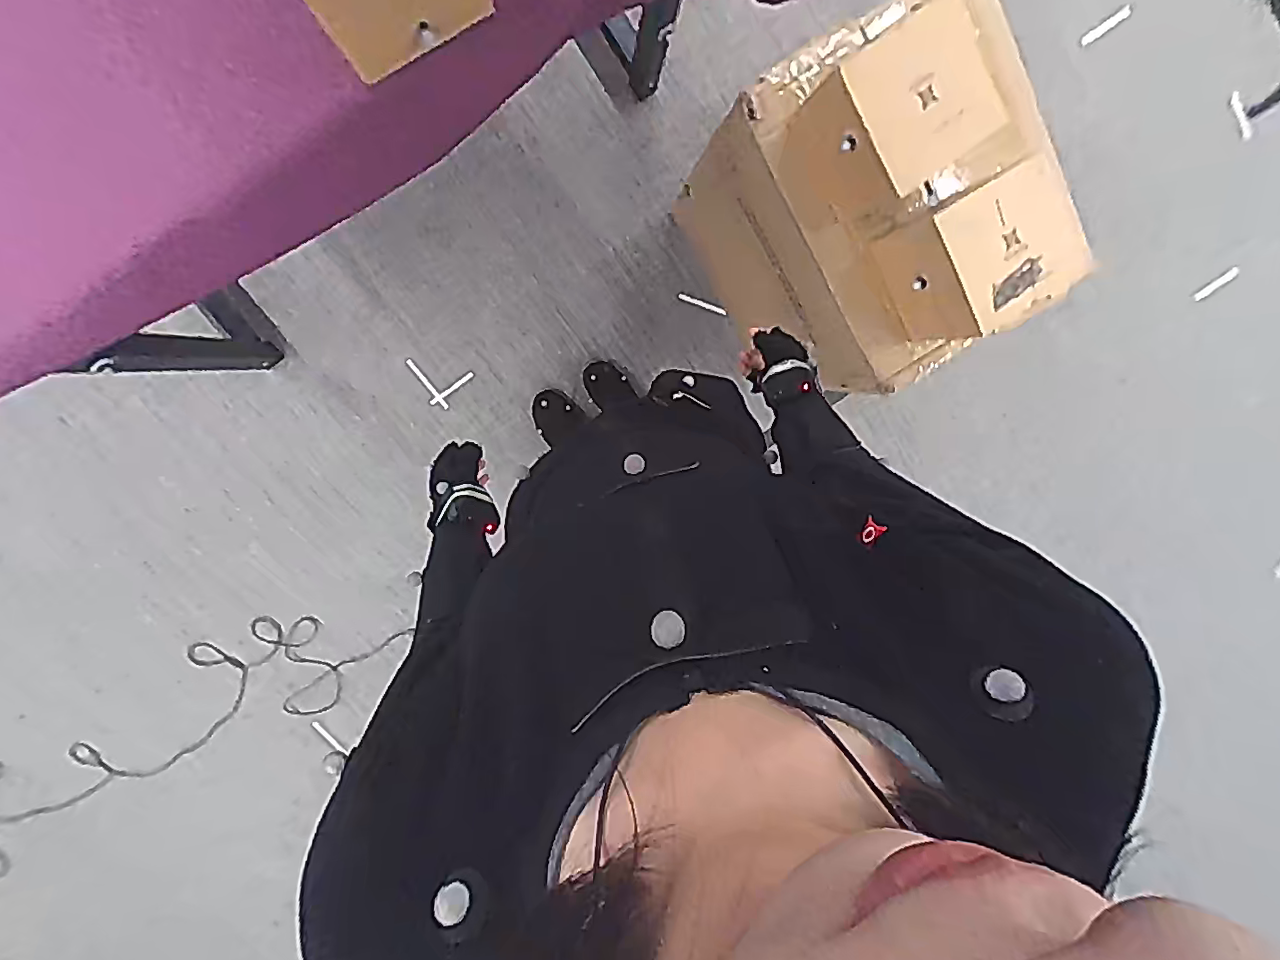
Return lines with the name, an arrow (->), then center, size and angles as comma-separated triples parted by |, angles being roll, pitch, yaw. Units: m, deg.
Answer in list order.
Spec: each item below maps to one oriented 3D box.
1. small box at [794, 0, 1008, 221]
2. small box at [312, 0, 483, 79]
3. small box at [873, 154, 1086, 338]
small box -> 0.339, -0.488, 0.736 | 0.168, 0.176, 0.179 | -34, 105, 3
small box -> -0.273, -0.562, 0.542 | 0.179, 0.176, 0.168 | -31, 103, -1
small box -> 0.478, -0.321, 0.784 | 0.168, 0.176, 0.179 | -31, 101, 1
